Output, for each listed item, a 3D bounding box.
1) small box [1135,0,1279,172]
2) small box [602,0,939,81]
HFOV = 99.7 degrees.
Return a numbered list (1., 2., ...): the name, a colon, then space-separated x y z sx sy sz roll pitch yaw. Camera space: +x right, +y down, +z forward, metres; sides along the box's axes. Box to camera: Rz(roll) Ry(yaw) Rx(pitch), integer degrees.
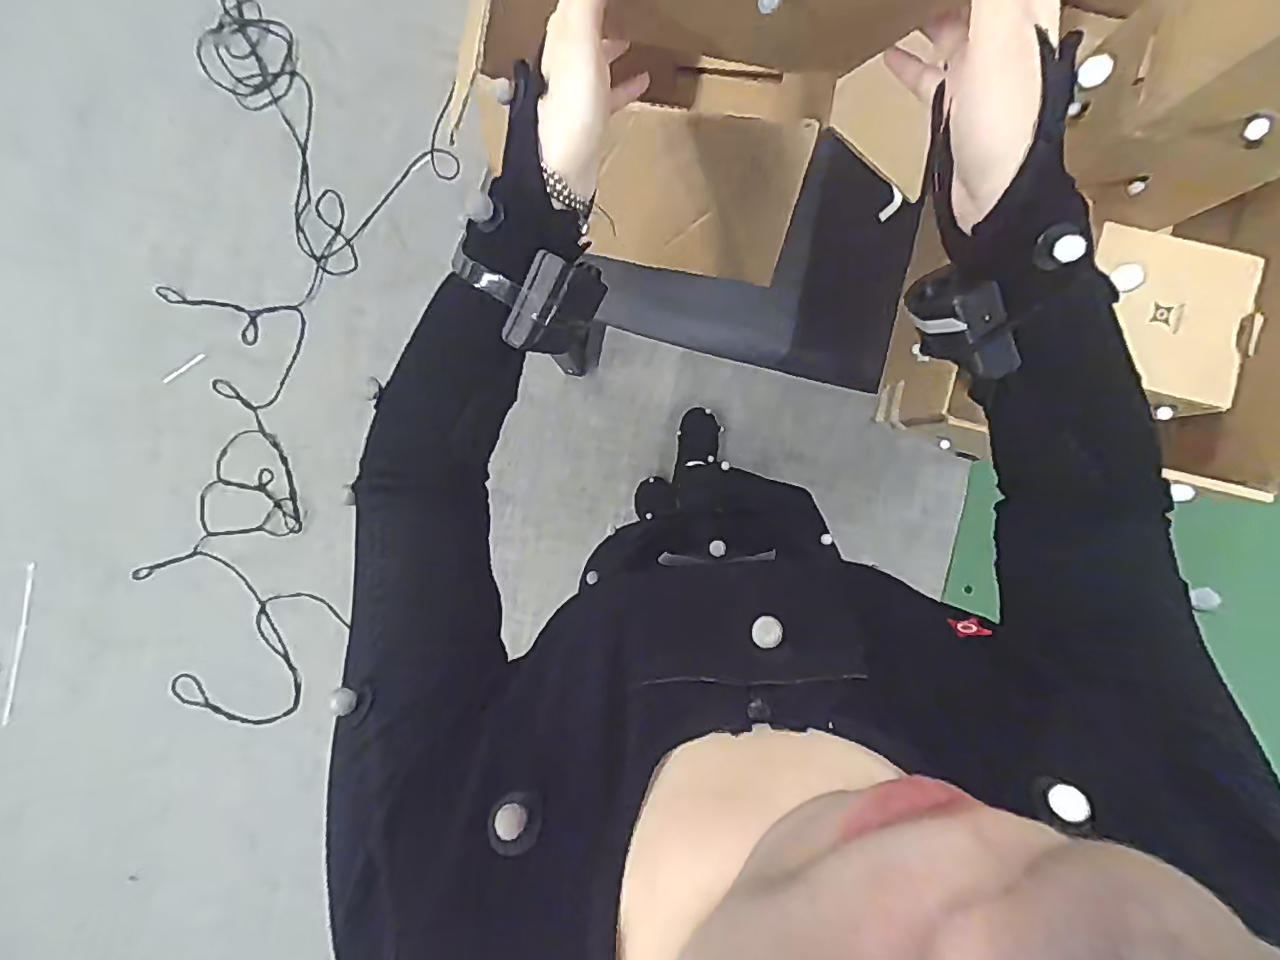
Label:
1. small box: 0.610 -0.422 0.487 0.168 0.176 0.179 14 93 0
2. small box: 0.077 -0.343 0.286 0.179 0.176 0.168 4 112 -11
